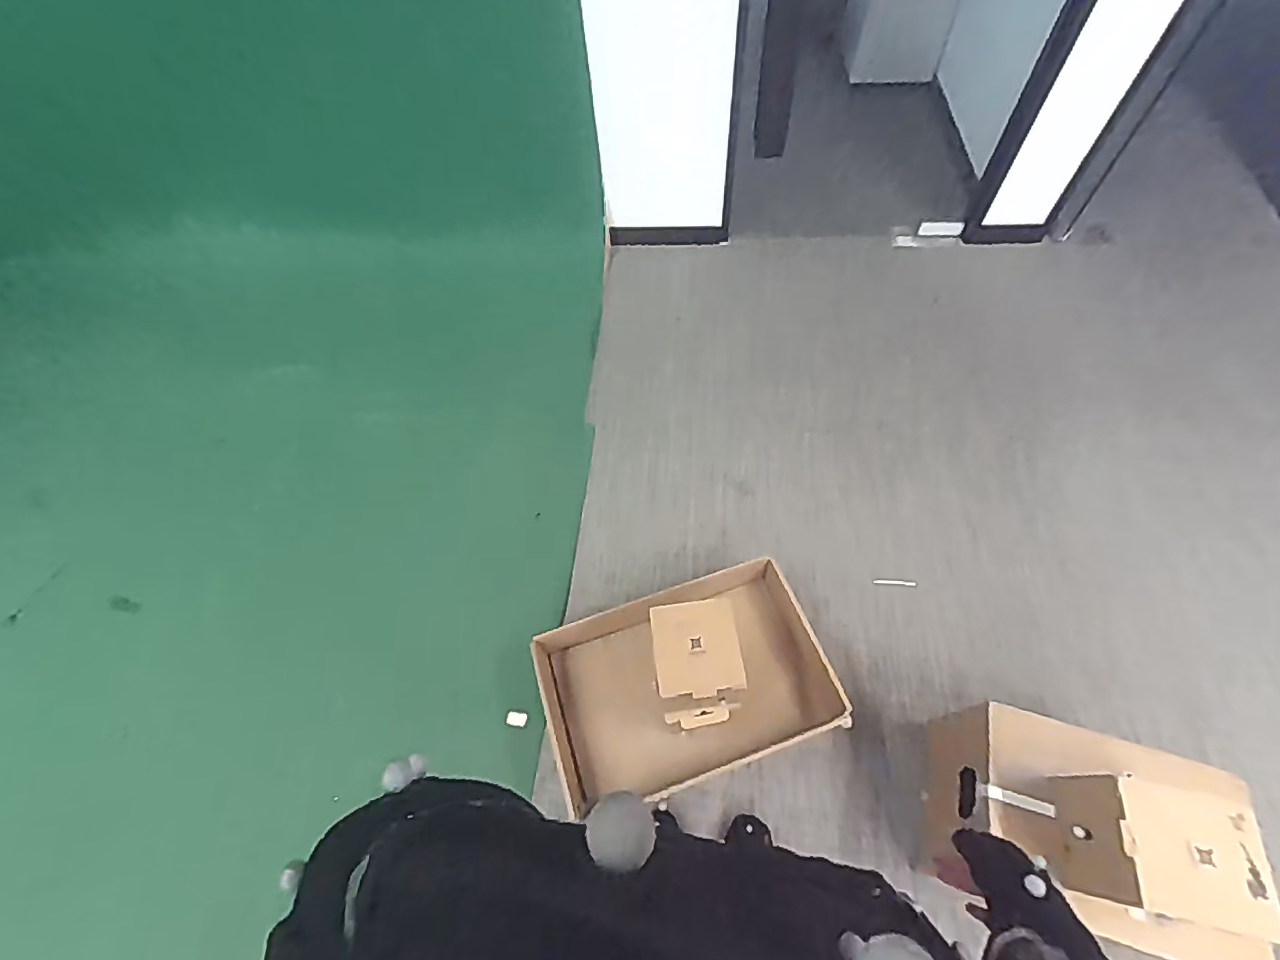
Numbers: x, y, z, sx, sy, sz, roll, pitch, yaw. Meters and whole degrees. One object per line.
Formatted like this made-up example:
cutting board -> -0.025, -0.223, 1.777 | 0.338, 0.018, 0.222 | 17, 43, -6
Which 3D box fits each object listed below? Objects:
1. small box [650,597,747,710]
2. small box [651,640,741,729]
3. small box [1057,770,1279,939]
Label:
small box -> 0.116, 0.360, 1.103 | 0.168, 0.176, 0.179 | -8, 56, 0
small box -> 0.127, 0.457, 1.233 | 0.168, 0.176, 0.179 | -12, 57, -1
small box -> 0.773, 0.554, 0.819 | 0.179, 0.176, 0.168 | 9, 61, 10
